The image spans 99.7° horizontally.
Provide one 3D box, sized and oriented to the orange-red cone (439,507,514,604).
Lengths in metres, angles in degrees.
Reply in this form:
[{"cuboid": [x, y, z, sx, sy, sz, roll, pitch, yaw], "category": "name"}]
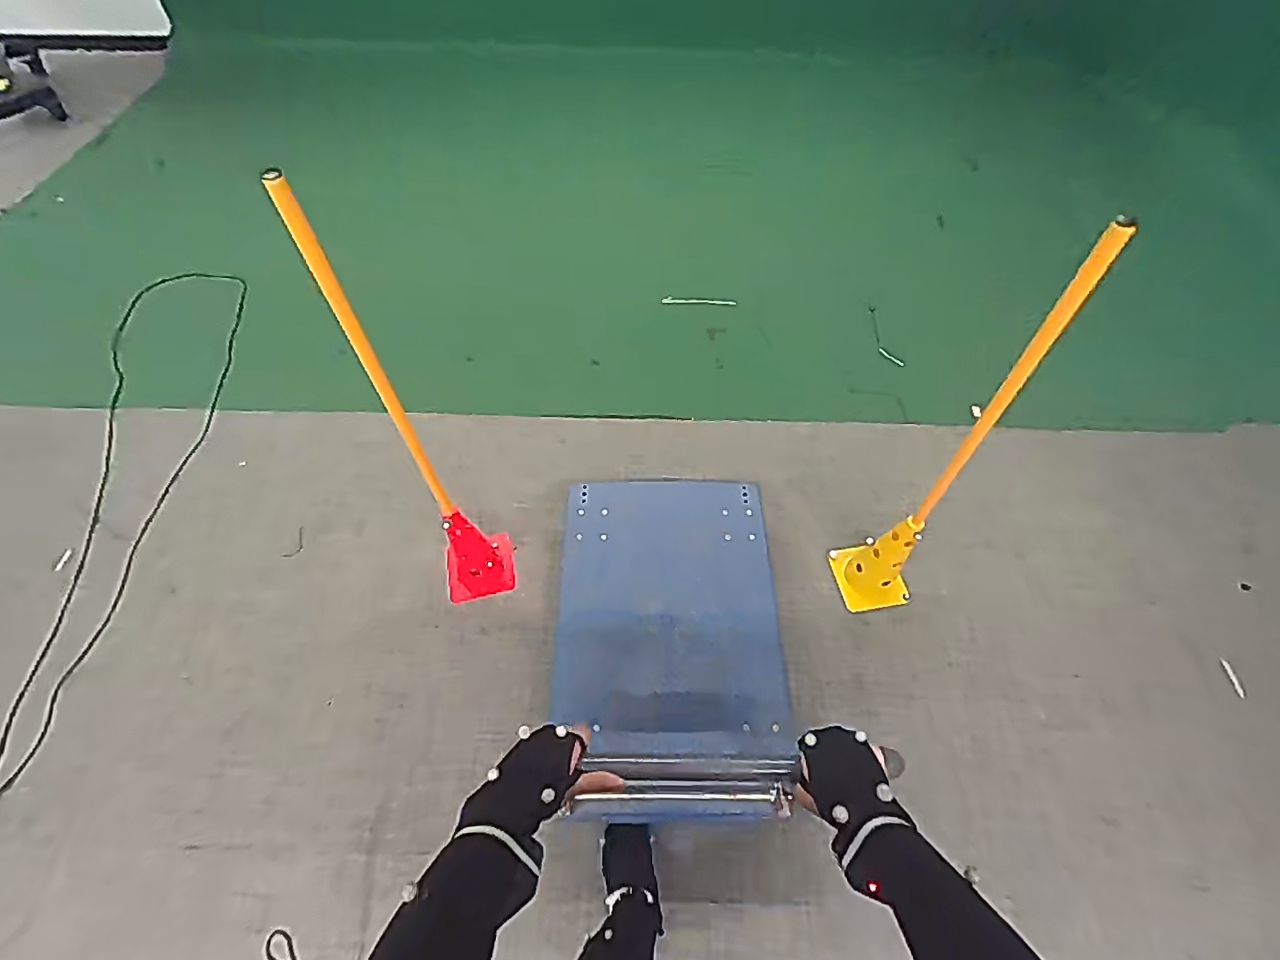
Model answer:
[{"cuboid": [-0.490, 0.181, 1.507, 0.199, 0.360, 0.198, -11, 57, -7], "category": "orange-red cone"}]
